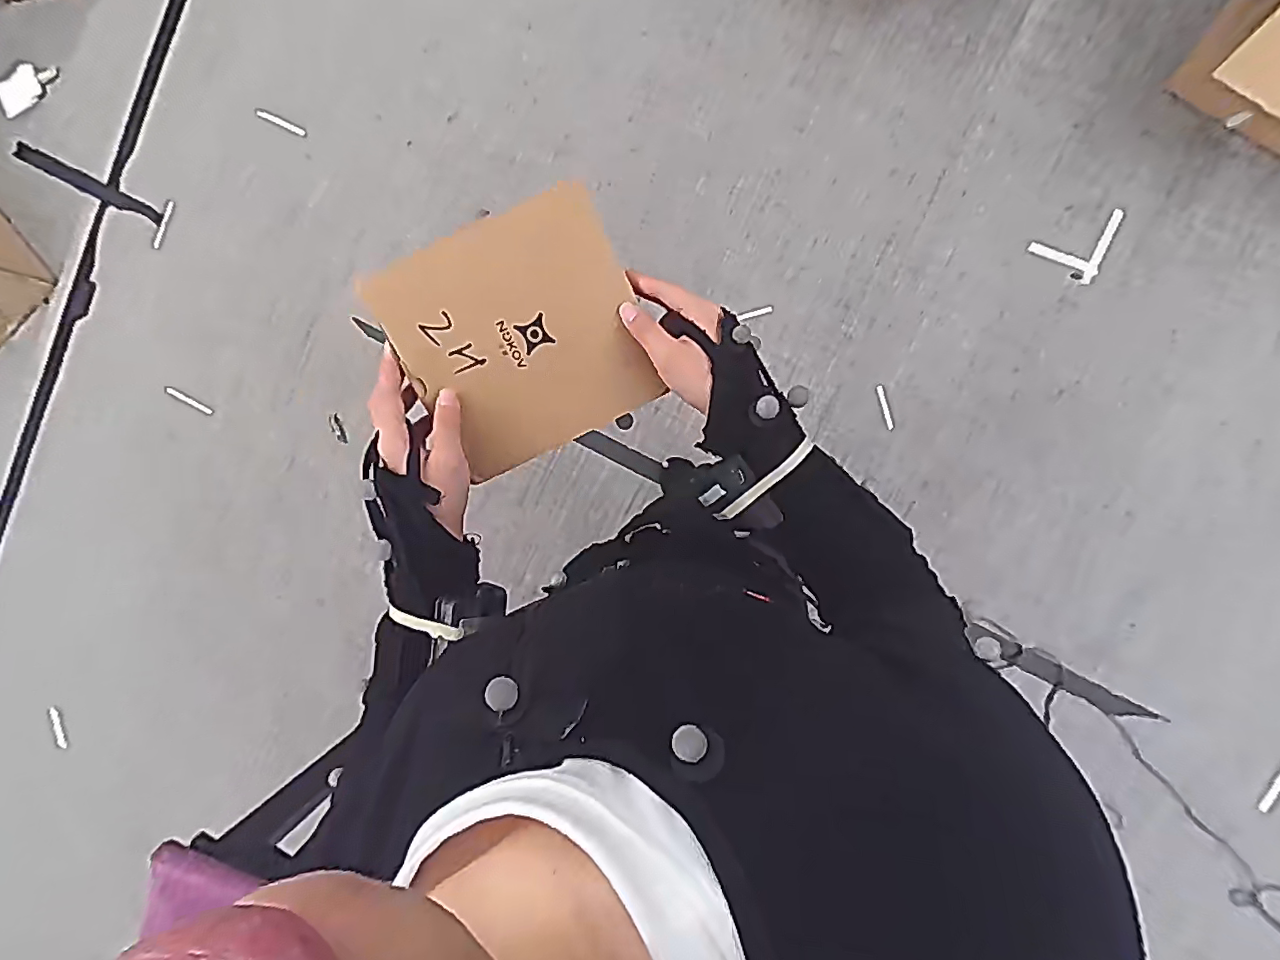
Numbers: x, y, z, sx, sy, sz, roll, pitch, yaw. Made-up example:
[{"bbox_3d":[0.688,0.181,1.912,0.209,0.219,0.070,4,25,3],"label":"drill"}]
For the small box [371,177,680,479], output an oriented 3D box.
[{"bbox_3d":[-0.088,-0.126,0.470,0.179,0.176,0.168,-25,105,0],"label":"small box"}]
